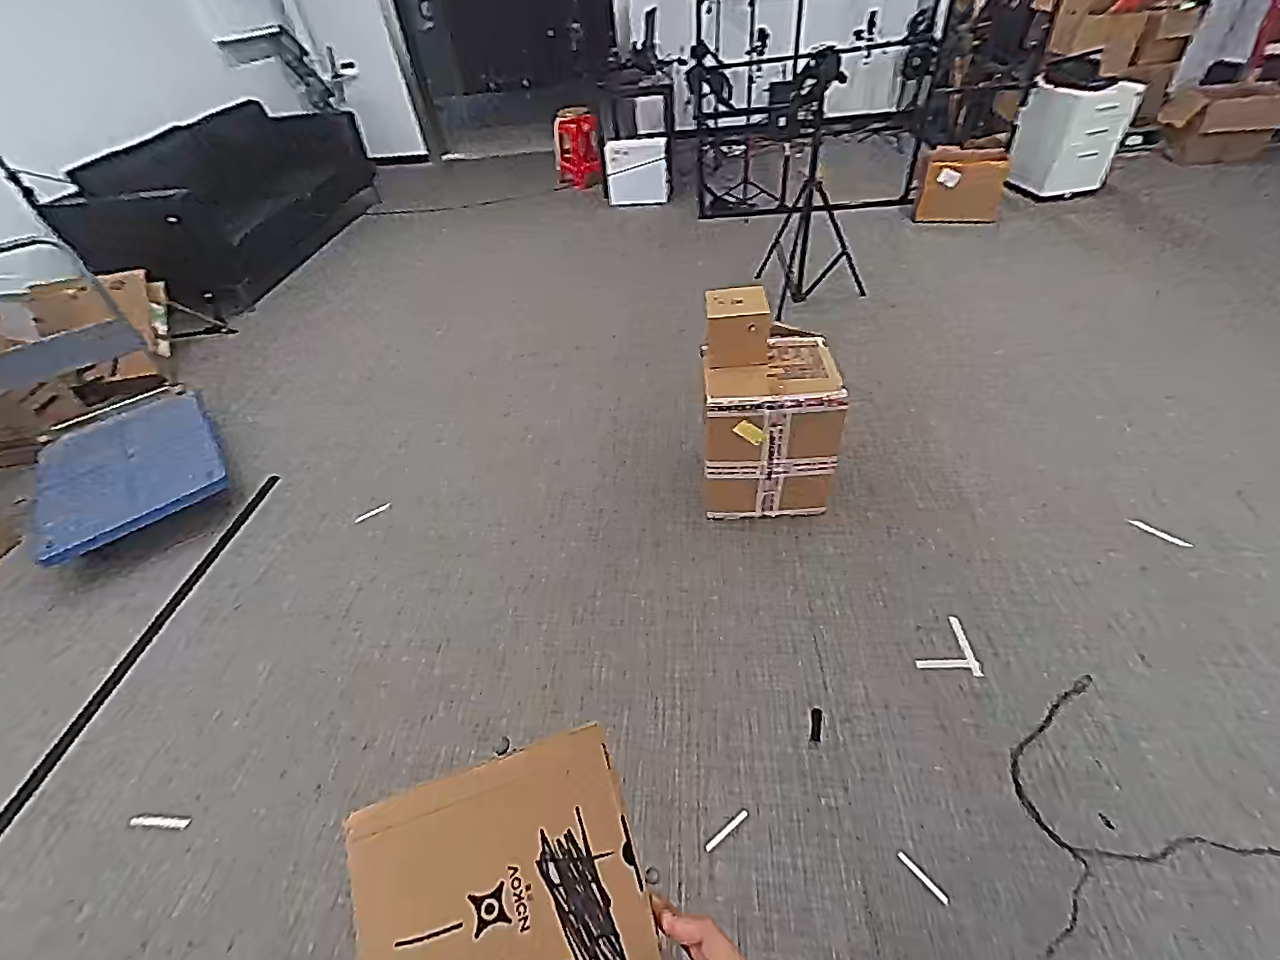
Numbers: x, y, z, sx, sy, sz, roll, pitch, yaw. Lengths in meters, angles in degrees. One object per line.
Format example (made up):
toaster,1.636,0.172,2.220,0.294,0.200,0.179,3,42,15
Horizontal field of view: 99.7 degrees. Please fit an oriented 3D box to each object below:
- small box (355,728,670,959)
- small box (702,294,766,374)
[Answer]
small box,-0.089,0.303,0.420,0.179,0.176,0.168,-16,68,-10
small box,0.280,-0.438,1.632,0.179,0.176,0.168,-4,44,8
